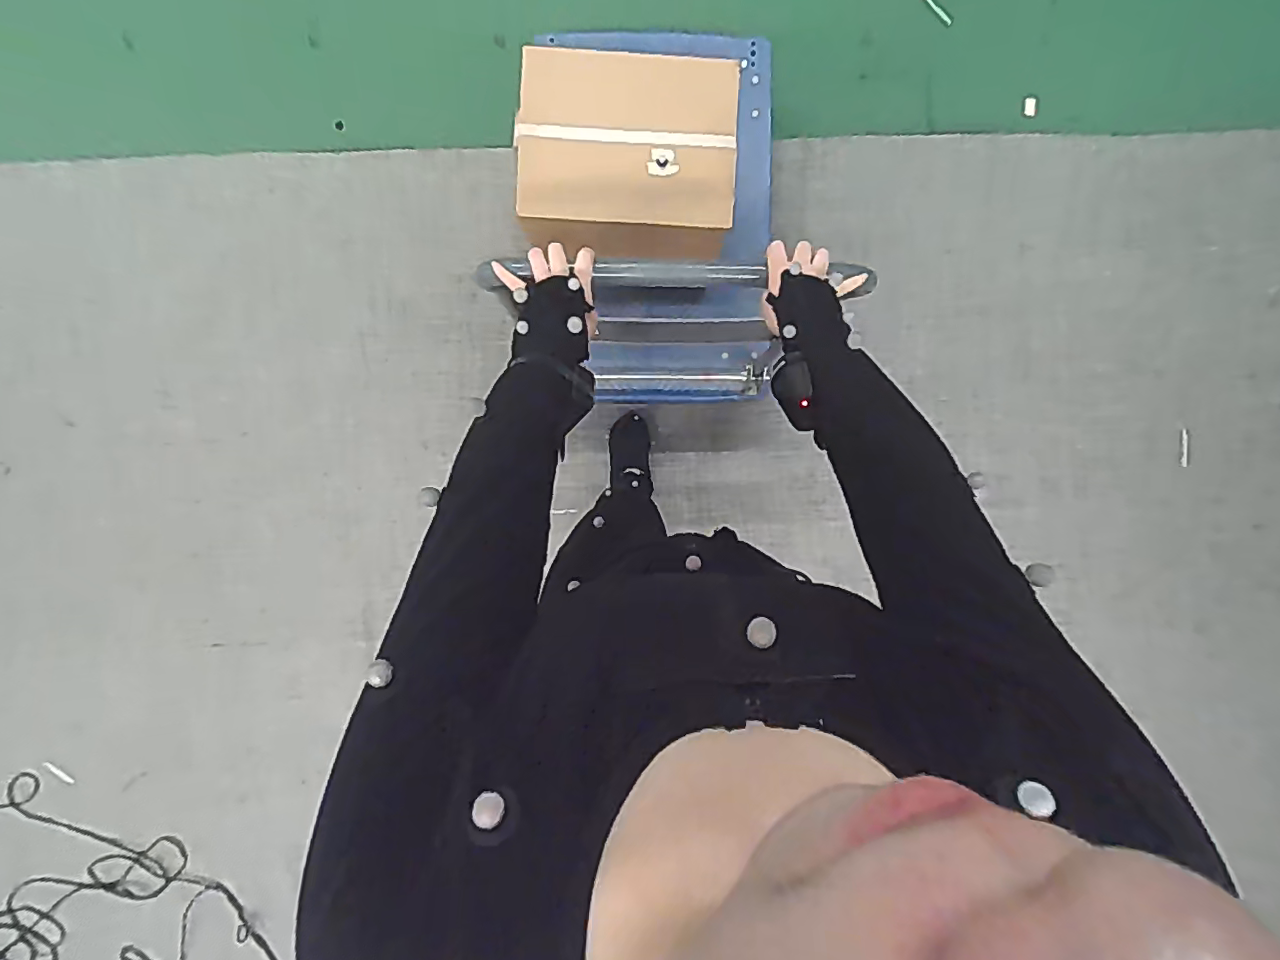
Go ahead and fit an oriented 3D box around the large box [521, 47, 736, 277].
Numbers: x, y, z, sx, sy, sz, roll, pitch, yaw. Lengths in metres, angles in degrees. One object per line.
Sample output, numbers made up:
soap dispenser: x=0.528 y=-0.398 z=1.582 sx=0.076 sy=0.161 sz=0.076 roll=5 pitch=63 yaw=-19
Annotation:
large box: x=-0.028 y=-0.651 z=1.163 sx=0.408 sy=0.320 sz=0.320 roll=3 pitch=91 yaw=-2
